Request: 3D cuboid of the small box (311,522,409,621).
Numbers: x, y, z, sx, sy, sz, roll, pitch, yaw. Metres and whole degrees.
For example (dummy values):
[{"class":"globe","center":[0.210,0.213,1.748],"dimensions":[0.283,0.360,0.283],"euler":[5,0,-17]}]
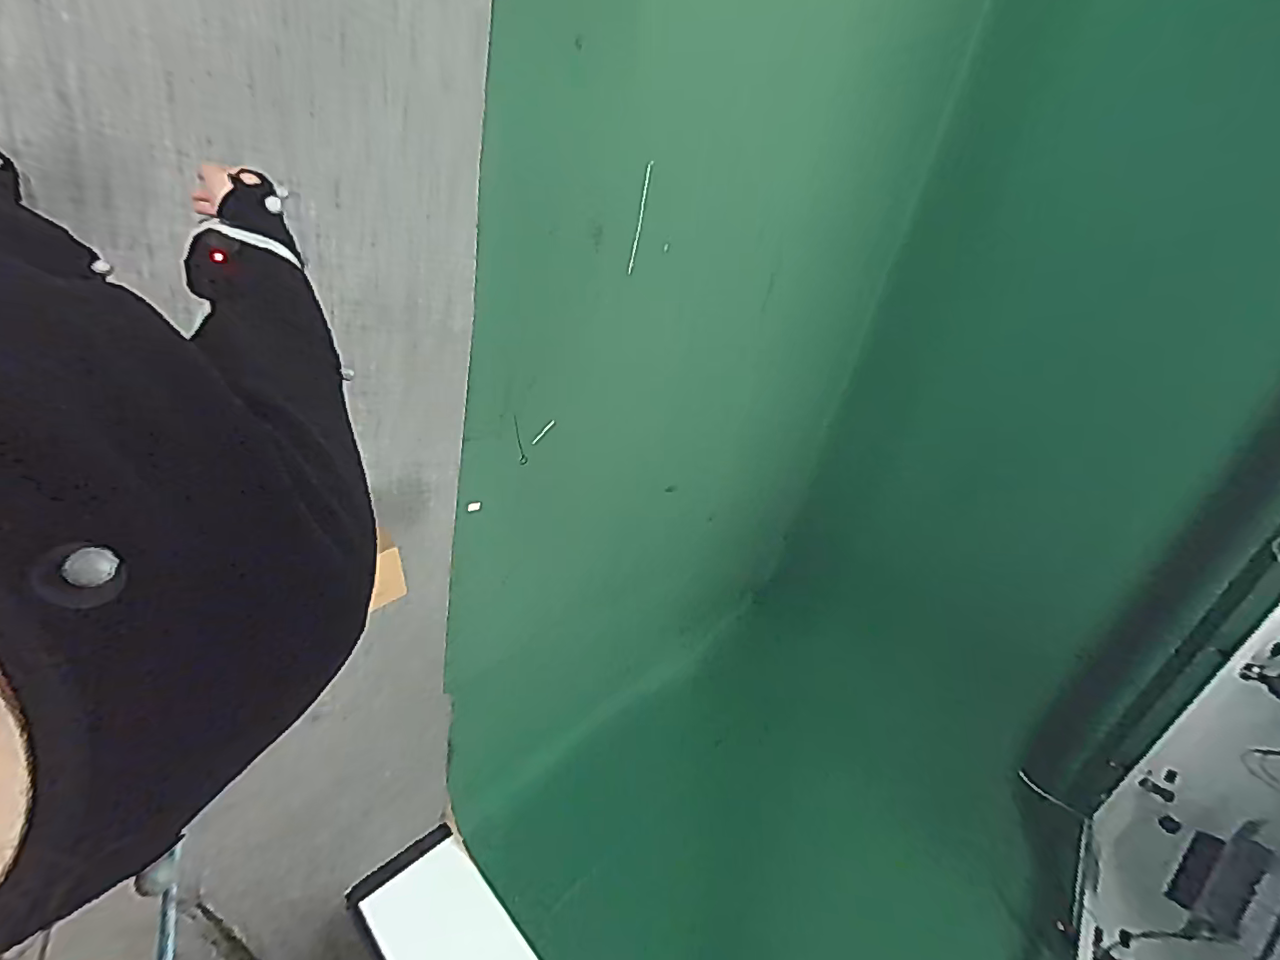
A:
[{"class":"small box","center":[-0.746,0.231,1.440],"dimensions":[0.168,0.176,0.179],"euler":[-26,135,-39]}]
